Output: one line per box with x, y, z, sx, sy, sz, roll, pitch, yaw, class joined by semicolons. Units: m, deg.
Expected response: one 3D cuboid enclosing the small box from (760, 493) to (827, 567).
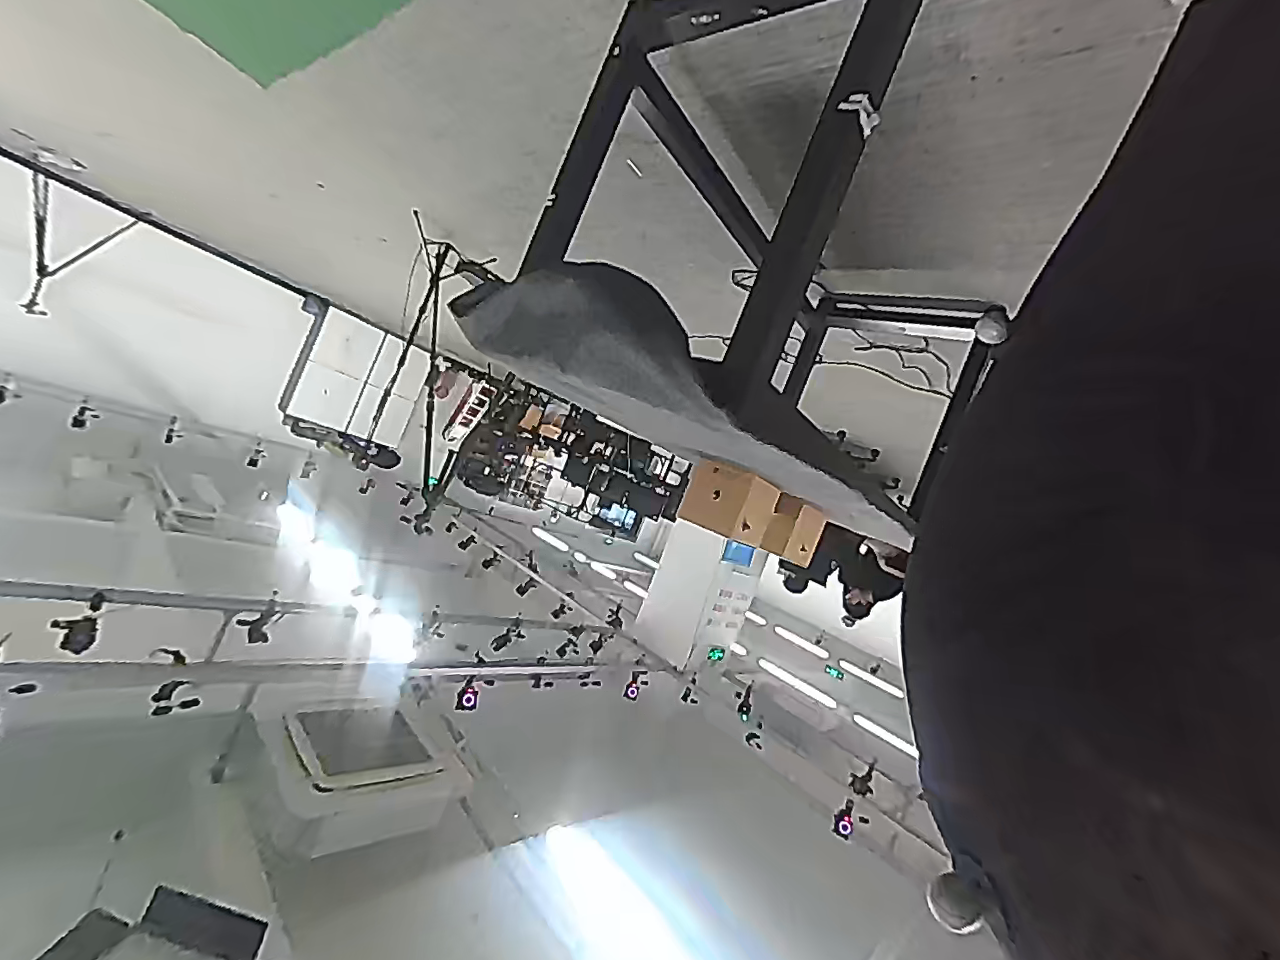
0.423;0.136;1.586;0.168;0.176;0.179;21;178;44;small box

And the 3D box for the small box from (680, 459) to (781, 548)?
0.235;0.057;1.384;0.168;0.176;0.179;22;179;38;small box
